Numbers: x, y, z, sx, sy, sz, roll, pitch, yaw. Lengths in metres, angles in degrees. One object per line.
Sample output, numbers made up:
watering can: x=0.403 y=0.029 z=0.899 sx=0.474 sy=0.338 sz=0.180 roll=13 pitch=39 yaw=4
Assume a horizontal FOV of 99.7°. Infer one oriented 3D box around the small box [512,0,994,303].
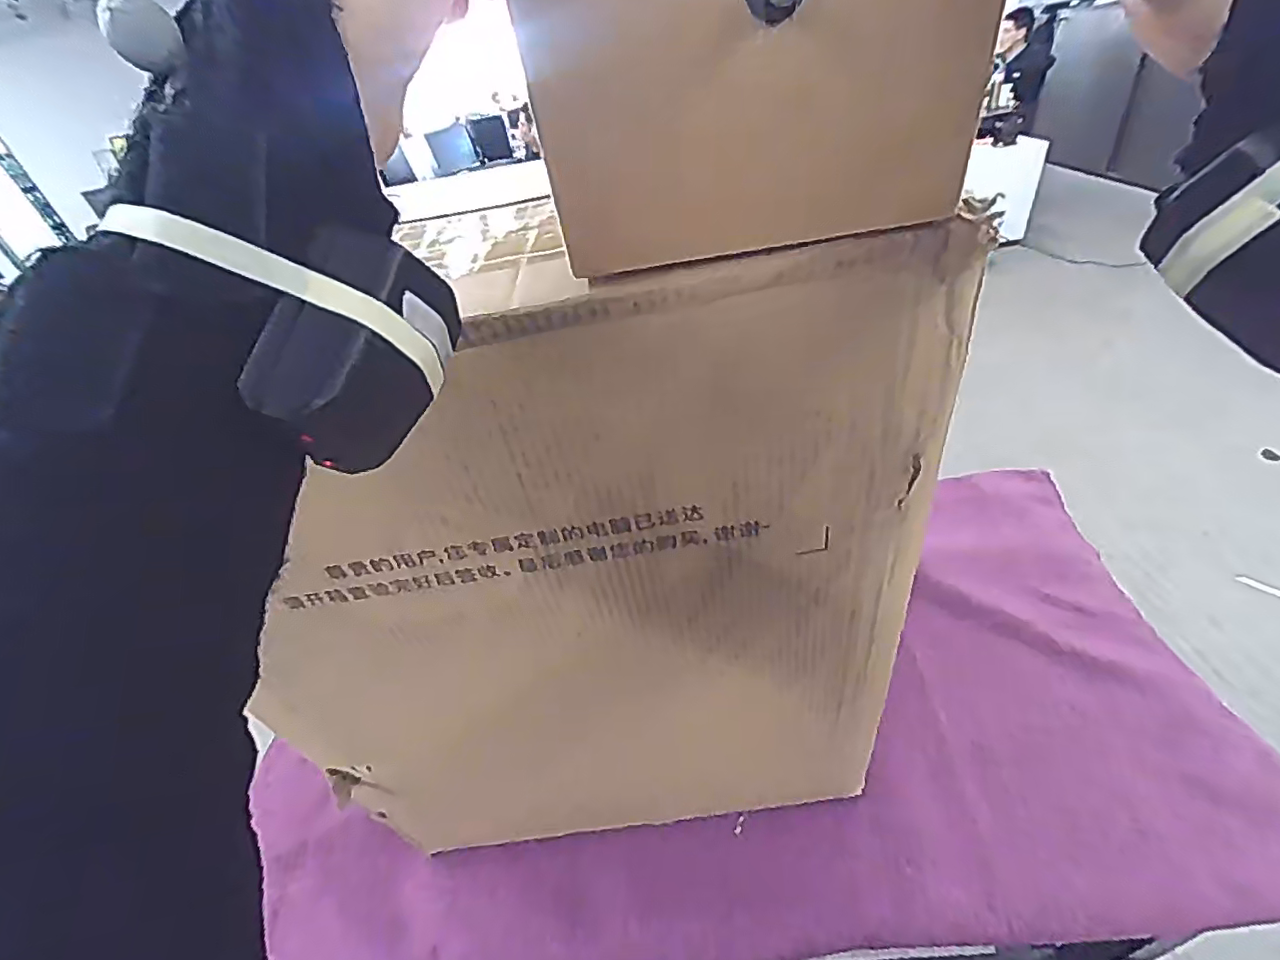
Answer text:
small box: x=0.038 y=-0.208 z=0.245 sx=0.168 sy=0.176 sz=0.179 roll=-7 pitch=43 yaw=5
